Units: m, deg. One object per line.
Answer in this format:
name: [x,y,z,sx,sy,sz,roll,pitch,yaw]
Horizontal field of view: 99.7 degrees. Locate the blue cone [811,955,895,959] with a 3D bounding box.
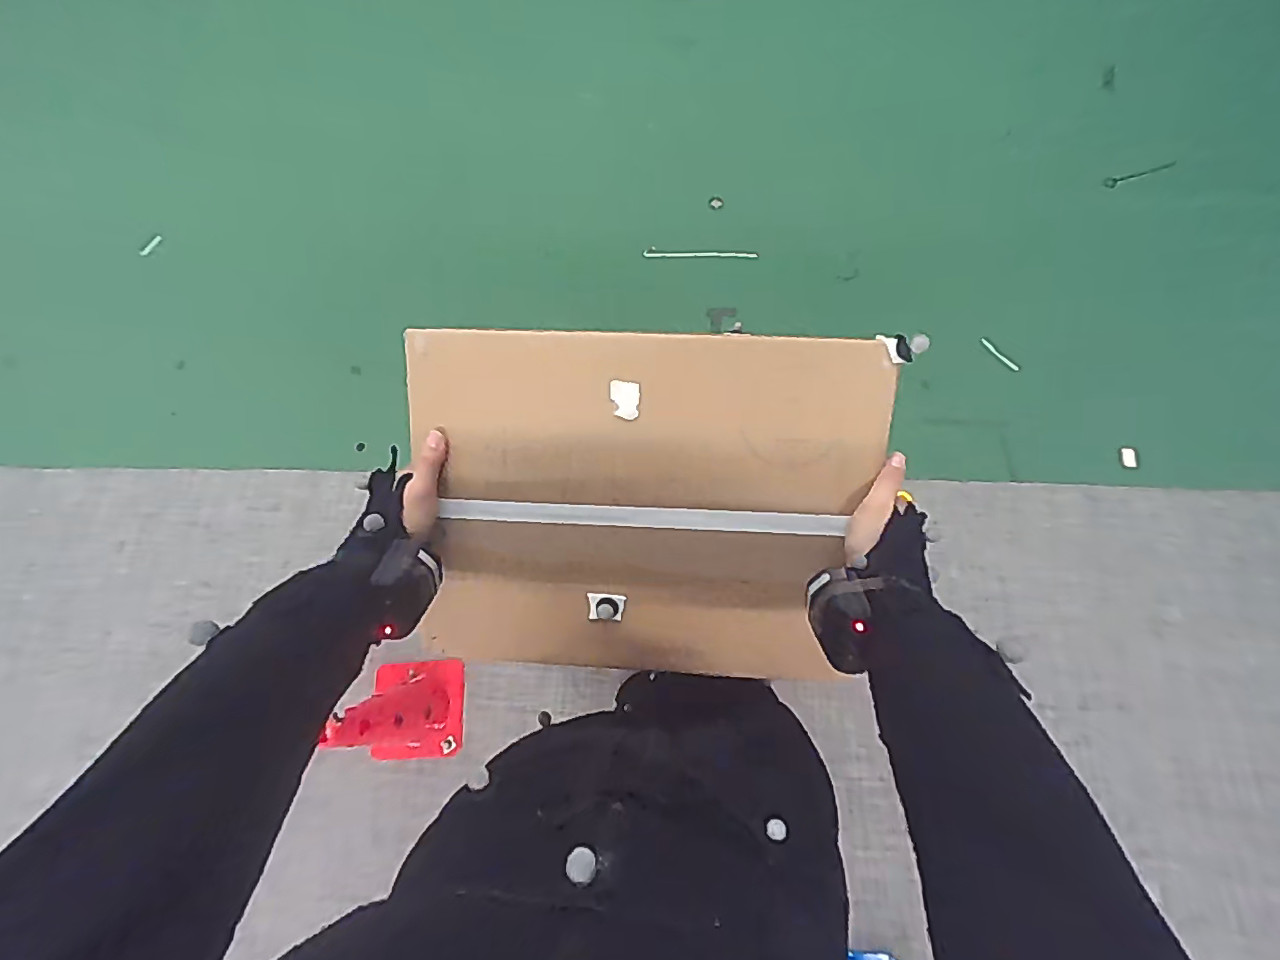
blue cone: [0.391,0.932,0.829,0.192,0.380,0.193,1,73,3]

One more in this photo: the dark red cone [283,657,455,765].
dark red cone: [-0.505,0.434,0.999,0.202,0.394,0.201,-6,70,2]
